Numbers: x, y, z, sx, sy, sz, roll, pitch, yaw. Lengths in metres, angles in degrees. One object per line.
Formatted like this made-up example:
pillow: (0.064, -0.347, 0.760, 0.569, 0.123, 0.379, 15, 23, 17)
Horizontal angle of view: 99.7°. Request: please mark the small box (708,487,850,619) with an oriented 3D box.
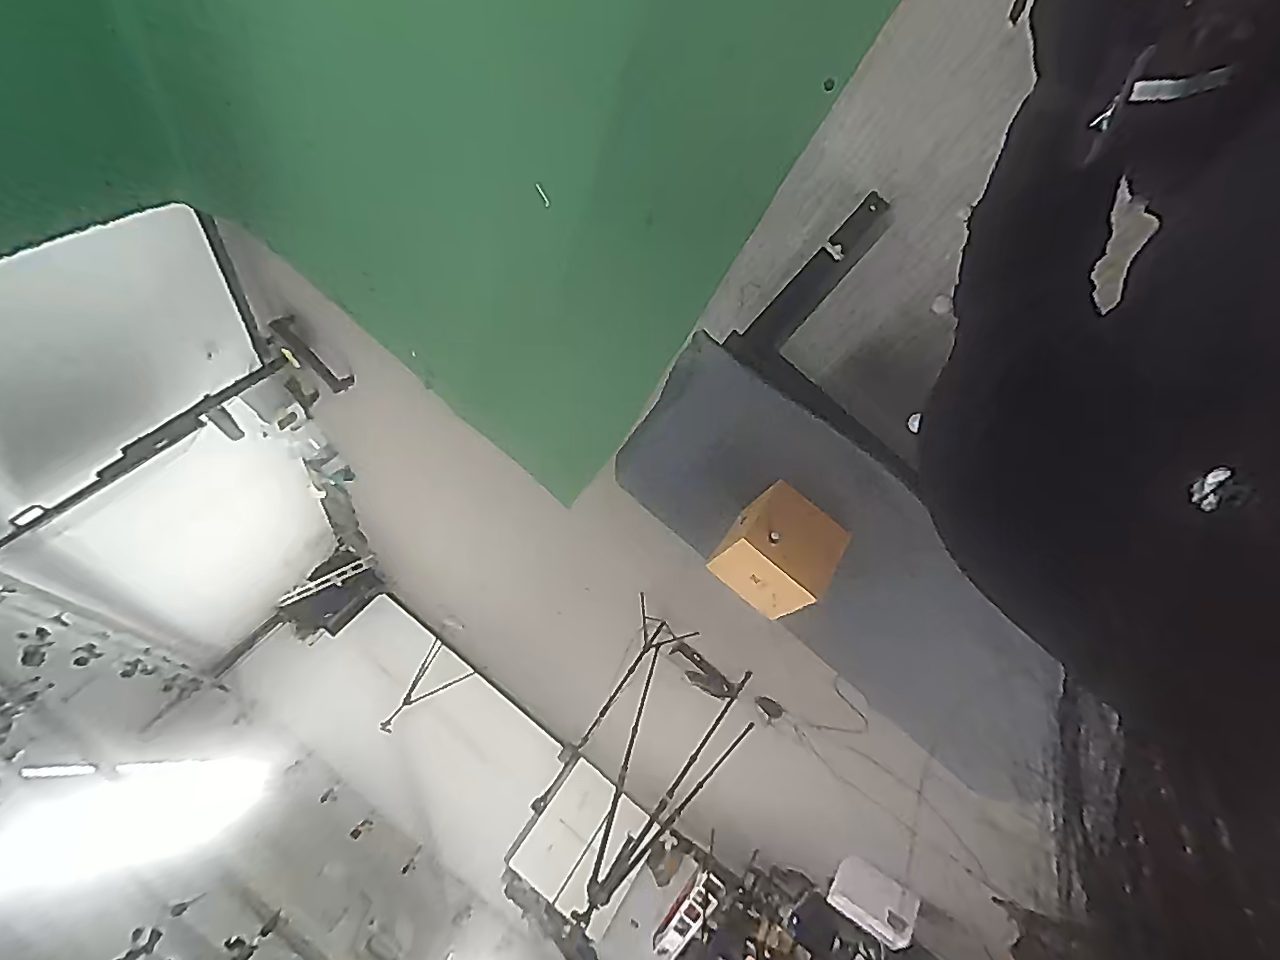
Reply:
small box: (0.270, 0.136, 1.054, 0.179, 0.176, 0.168, 39, 148, 2)
